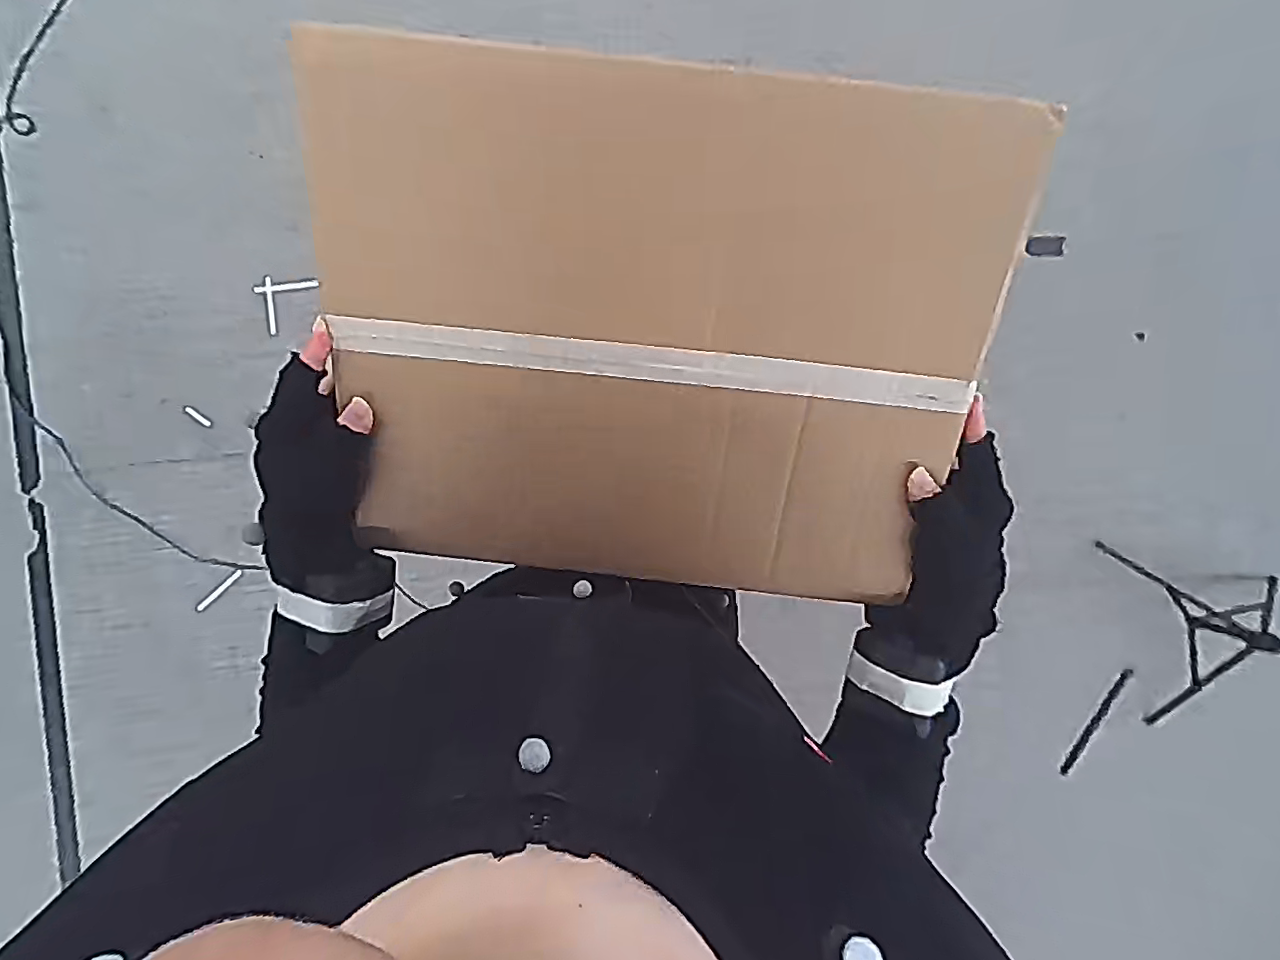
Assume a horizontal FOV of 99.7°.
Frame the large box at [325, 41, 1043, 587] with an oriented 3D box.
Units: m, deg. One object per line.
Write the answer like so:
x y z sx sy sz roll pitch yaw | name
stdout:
0.015 -0.134 0.487 0.408 0.320 0.320 6 113 0 | large box
